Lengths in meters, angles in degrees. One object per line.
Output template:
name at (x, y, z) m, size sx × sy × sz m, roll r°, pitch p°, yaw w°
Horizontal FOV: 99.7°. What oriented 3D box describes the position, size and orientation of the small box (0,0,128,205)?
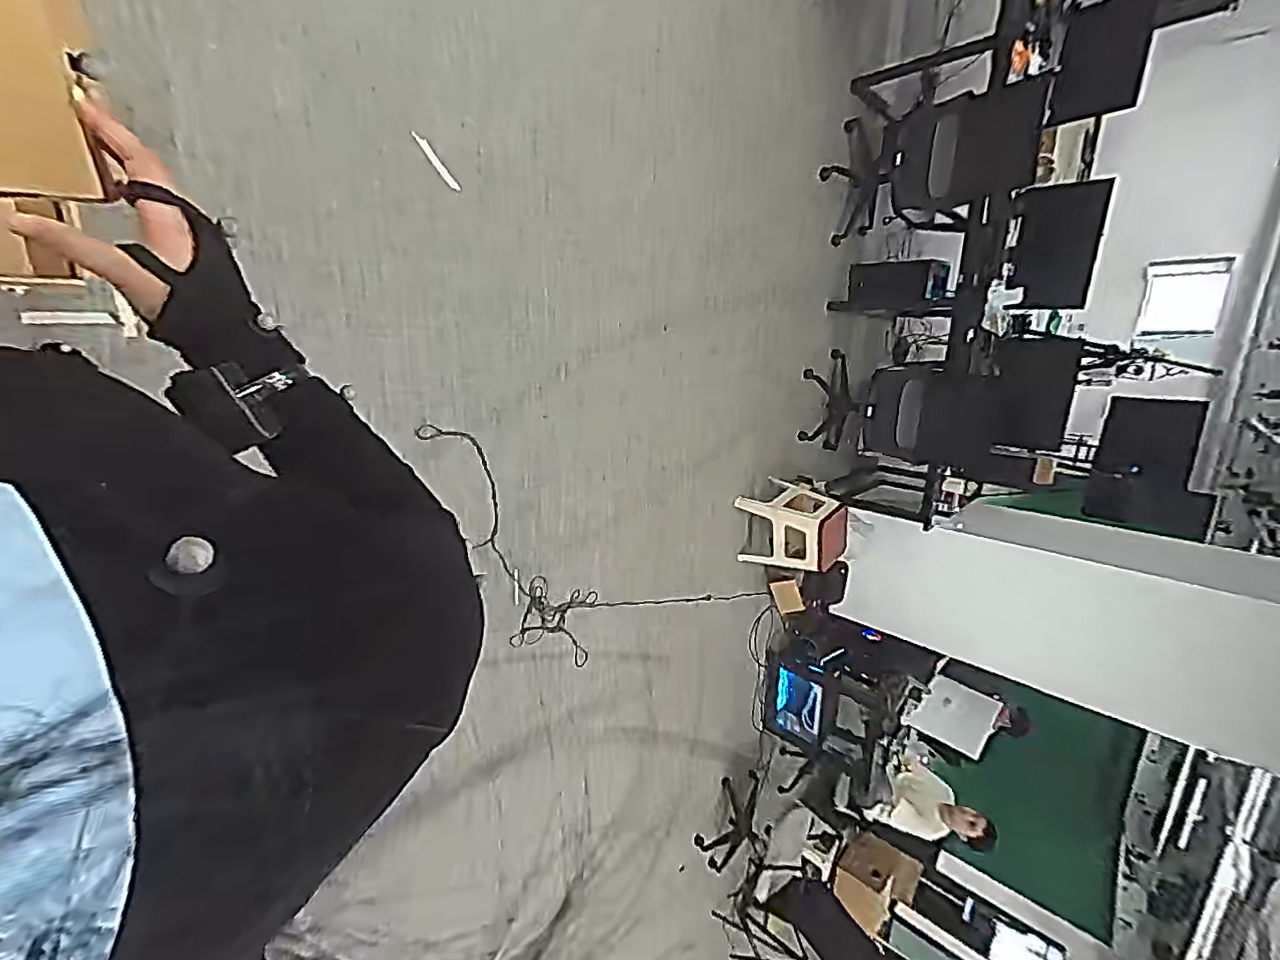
small box at (-0.451, -0.275, 0.330) m, size 0.168 × 0.176 × 0.179 m, roll -13°, pitch 122°, yaw -33°
